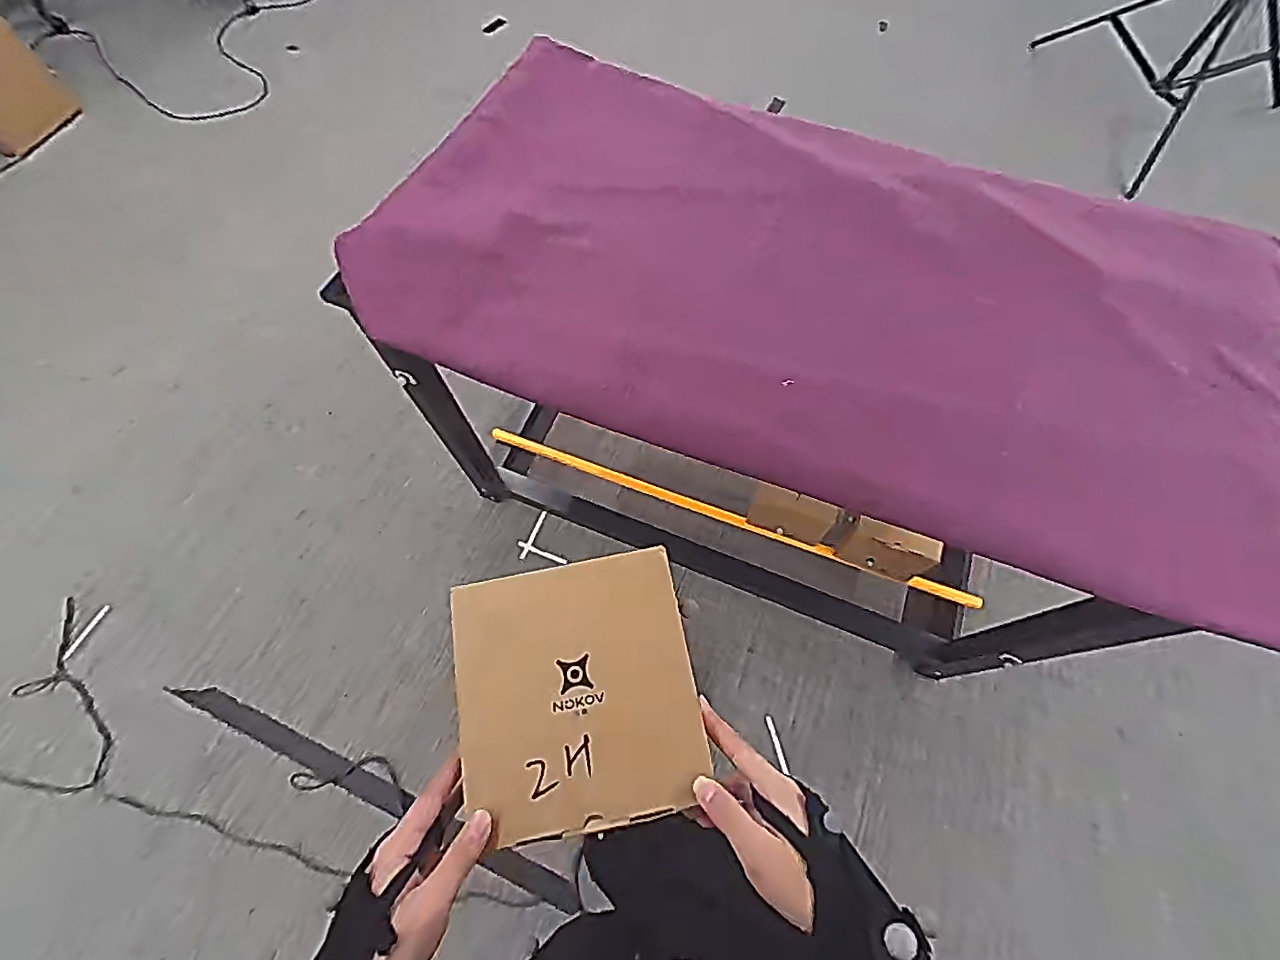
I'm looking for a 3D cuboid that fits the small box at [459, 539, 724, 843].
[{"bbox_3d":[-0.038,0.166,0.445,0.168,0.176,0.179,-11,68,-2],"label":"small box"}]

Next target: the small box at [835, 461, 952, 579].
[{"bbox_3d":[0.538,0.092,1.166,0.168,0.176,0.179,19,68,10],"label":"small box"}]

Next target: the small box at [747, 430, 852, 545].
[{"bbox_3d":[0.347,0.021,1.204,0.168,0.176,0.179,19,69,10],"label":"small box"}]
